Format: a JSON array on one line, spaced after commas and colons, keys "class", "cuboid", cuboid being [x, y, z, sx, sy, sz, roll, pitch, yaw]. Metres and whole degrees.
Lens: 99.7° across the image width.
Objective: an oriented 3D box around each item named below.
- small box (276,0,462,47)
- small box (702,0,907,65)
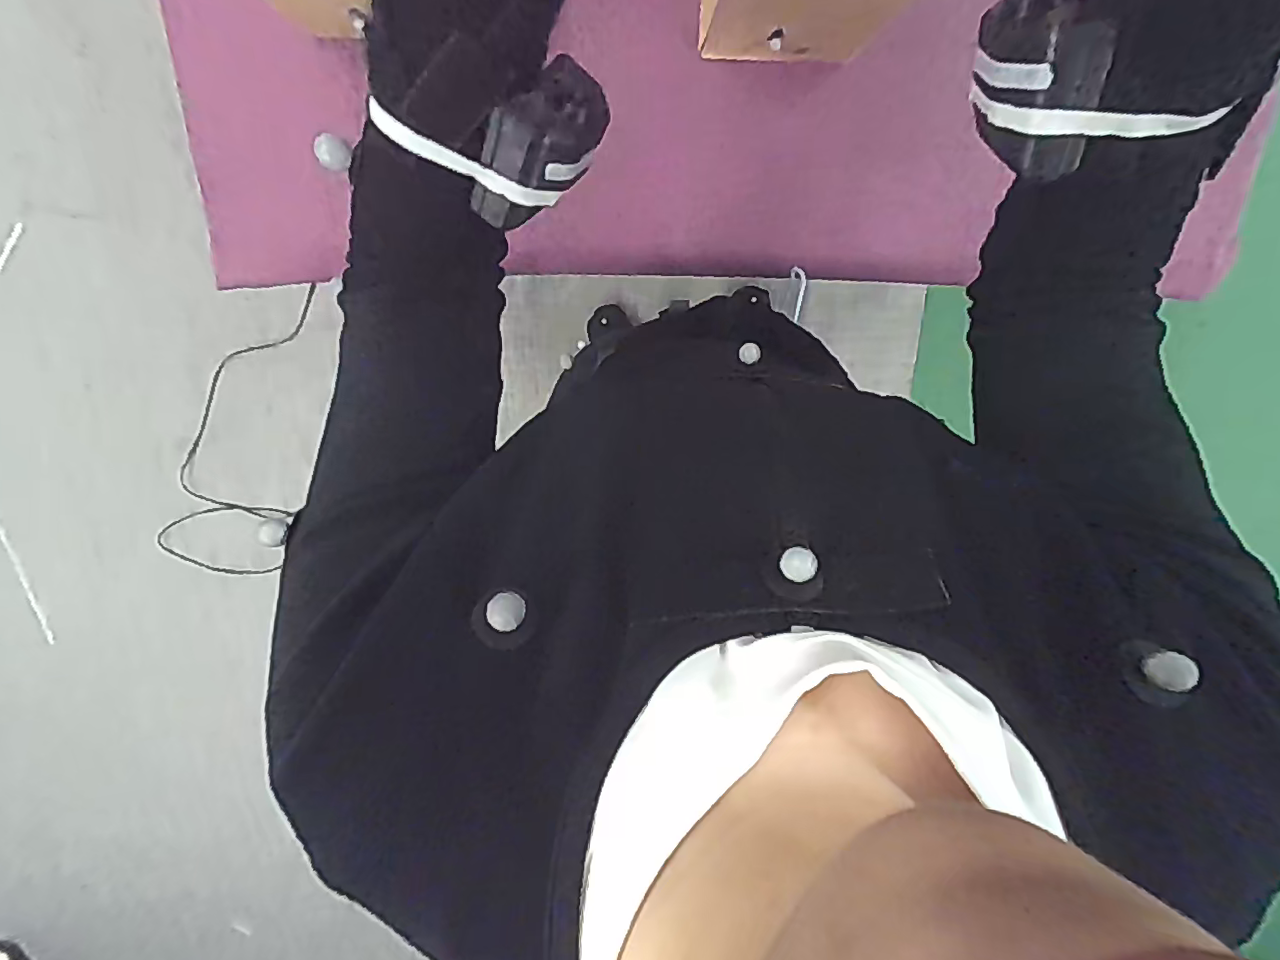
[{"class": "small box", "cuboid": [-0.264, -0.520, 0.469, 0.168, 0.176, 0.179, 1, 109, -2]}, {"class": "small box", "cuboid": [0.150, -0.514, 0.486, 0.168, 0.176, 0.179, 0, 109, -2]}]
